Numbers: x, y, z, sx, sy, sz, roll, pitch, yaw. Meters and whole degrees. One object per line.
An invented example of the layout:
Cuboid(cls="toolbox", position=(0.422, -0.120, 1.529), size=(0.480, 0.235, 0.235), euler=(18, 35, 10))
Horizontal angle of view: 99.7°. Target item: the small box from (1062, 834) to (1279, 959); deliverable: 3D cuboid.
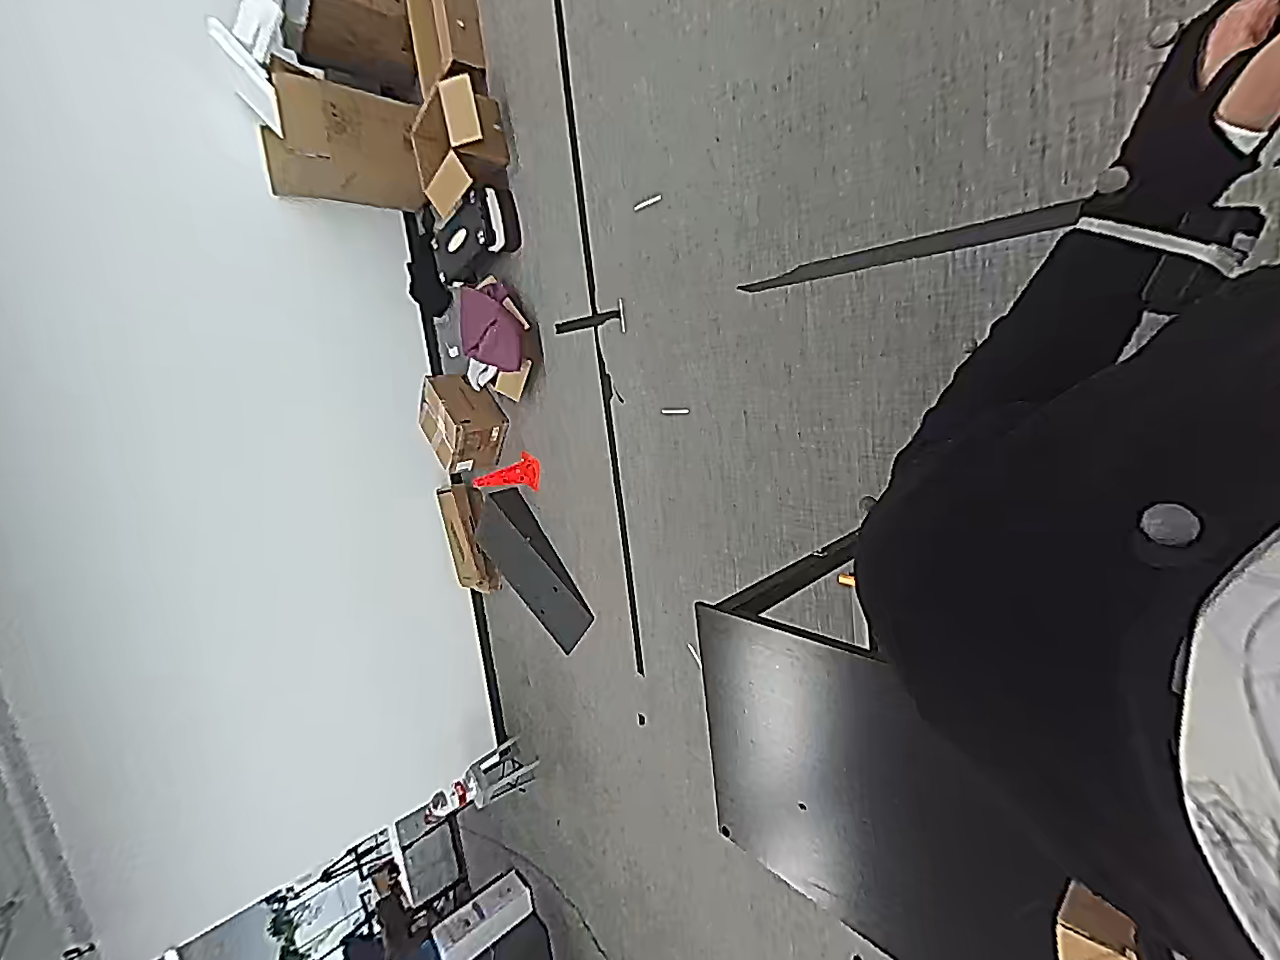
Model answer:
Cuboid(cls="small box", position=(0.597, 0.552, 0.606), size=(0.168, 0.176, 0.179), euler=(-1, 100, 51))
